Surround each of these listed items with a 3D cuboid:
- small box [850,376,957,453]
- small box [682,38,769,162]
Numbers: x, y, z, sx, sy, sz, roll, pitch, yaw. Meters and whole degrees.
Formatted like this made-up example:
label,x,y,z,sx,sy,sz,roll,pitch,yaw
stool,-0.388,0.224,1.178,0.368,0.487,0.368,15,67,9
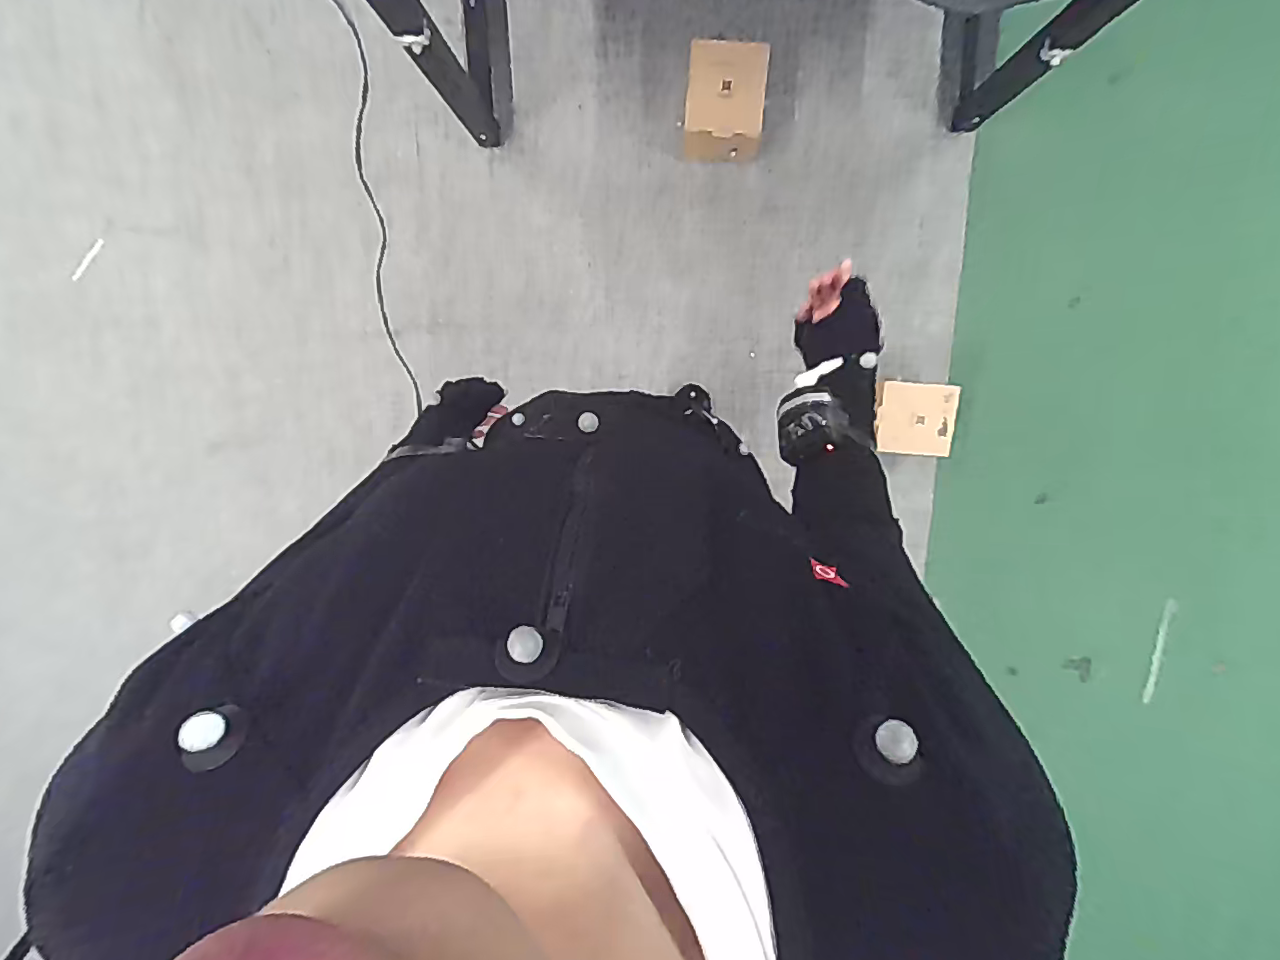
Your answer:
label,x,y,z,sx,sy,sz,roll,pitch,yaw
small box,0.638,-0.166,1.332,0.179,0.176,0.168,5,101,2
small box,0.184,-0.842,1.214,0.168,0.176,0.179,4,100,0
